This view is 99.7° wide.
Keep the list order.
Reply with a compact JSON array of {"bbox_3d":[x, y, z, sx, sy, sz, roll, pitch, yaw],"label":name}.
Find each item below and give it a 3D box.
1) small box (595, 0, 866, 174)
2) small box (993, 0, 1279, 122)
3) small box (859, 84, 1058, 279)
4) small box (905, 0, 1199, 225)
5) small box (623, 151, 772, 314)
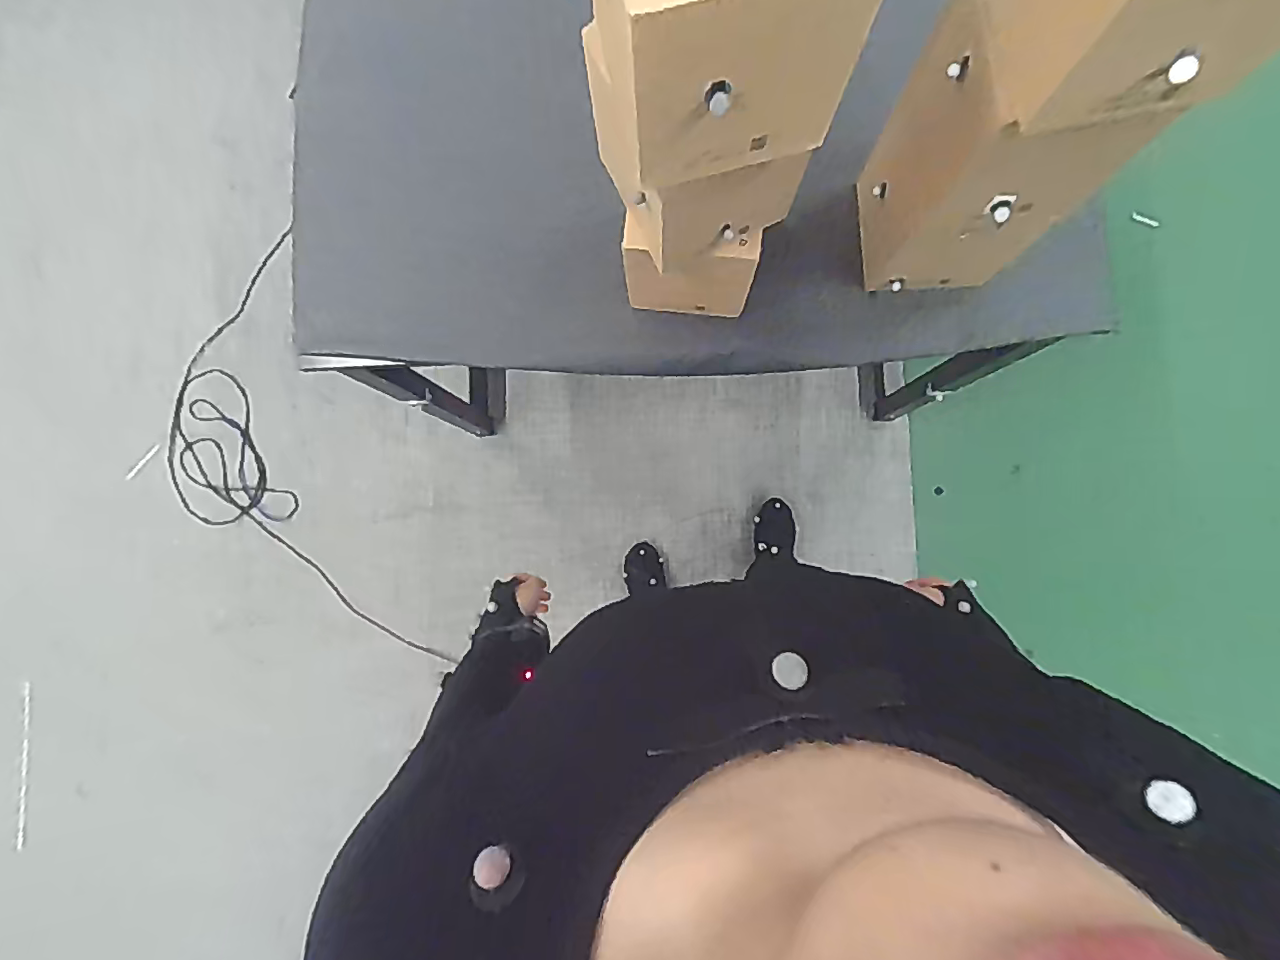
[{"bbox_3d":[0.055,-0.359,0.396,0.168,0.176,0.179,-14,84,2],"label":"small box"},{"bbox_3d":[0.382,-0.403,0.380,0.168,0.176,0.179,-9,83,4],"label":"small box"},{"bbox_3d":[0.400,-0.378,0.707,0.168,0.176,0.179,-2,82,3],"label":"small box"},{"bbox_3d":[0.390,-0.393,0.546,0.168,0.176,0.179,-6,84,4],"label":"small box"},{"bbox_3d":[0.073,-0.346,0.723,0.168,0.176,0.179,6,84,4],"label":"small box"}]
